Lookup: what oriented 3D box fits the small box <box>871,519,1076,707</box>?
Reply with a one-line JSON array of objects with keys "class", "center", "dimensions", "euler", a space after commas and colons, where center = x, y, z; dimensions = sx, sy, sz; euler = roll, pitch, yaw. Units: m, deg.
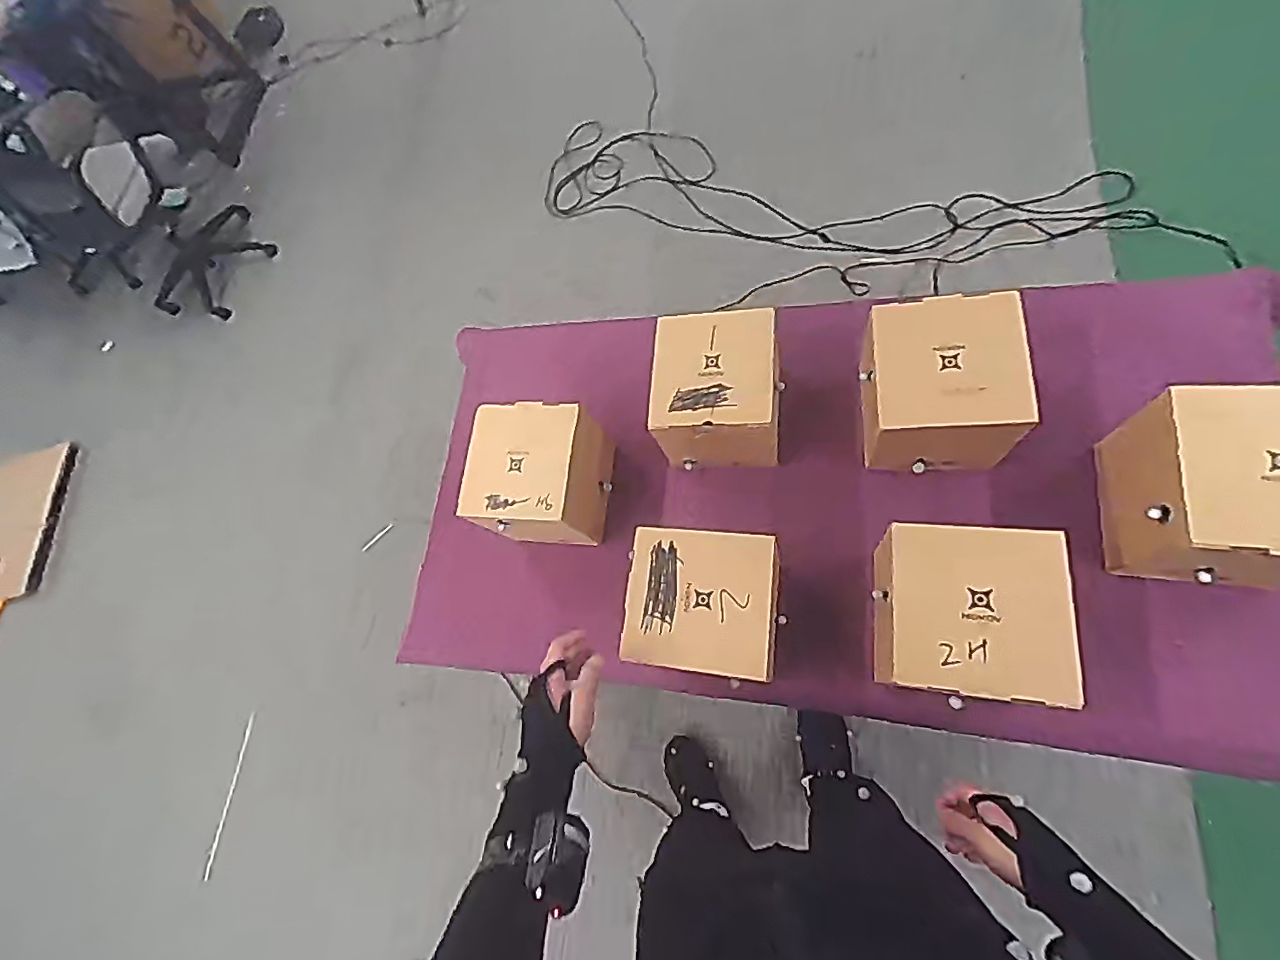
[{"class": "small box", "center": [0.369, 0.156, 0.633], "dimensions": [0.168, 0.176, 0.179], "euler": [3, 72, 18]}]

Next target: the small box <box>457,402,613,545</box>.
[{"class": "small box", "center": [-0.151, -0.006, 0.842], "dimensions": [0.168, 0.176, 0.179], "euler": [2, 72, 18]}]

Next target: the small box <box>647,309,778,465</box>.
[{"class": "small box", "center": [0.118, -0.127, 0.806], "dimensions": [0.168, 0.176, 0.179], "euler": [0, 72, 17]}]

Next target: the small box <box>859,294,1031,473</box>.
[{"class": "small box", "center": [0.389, -0.119, 0.724], "dimensions": [0.168, 0.176, 0.179], "euler": [0, 72, 17]}]

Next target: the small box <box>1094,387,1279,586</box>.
[{"class": "small box", "center": [0.645, 0.012, 0.603], "dimensions": [0.168, 0.176, 0.179], "euler": [3, 74, 18]}]
